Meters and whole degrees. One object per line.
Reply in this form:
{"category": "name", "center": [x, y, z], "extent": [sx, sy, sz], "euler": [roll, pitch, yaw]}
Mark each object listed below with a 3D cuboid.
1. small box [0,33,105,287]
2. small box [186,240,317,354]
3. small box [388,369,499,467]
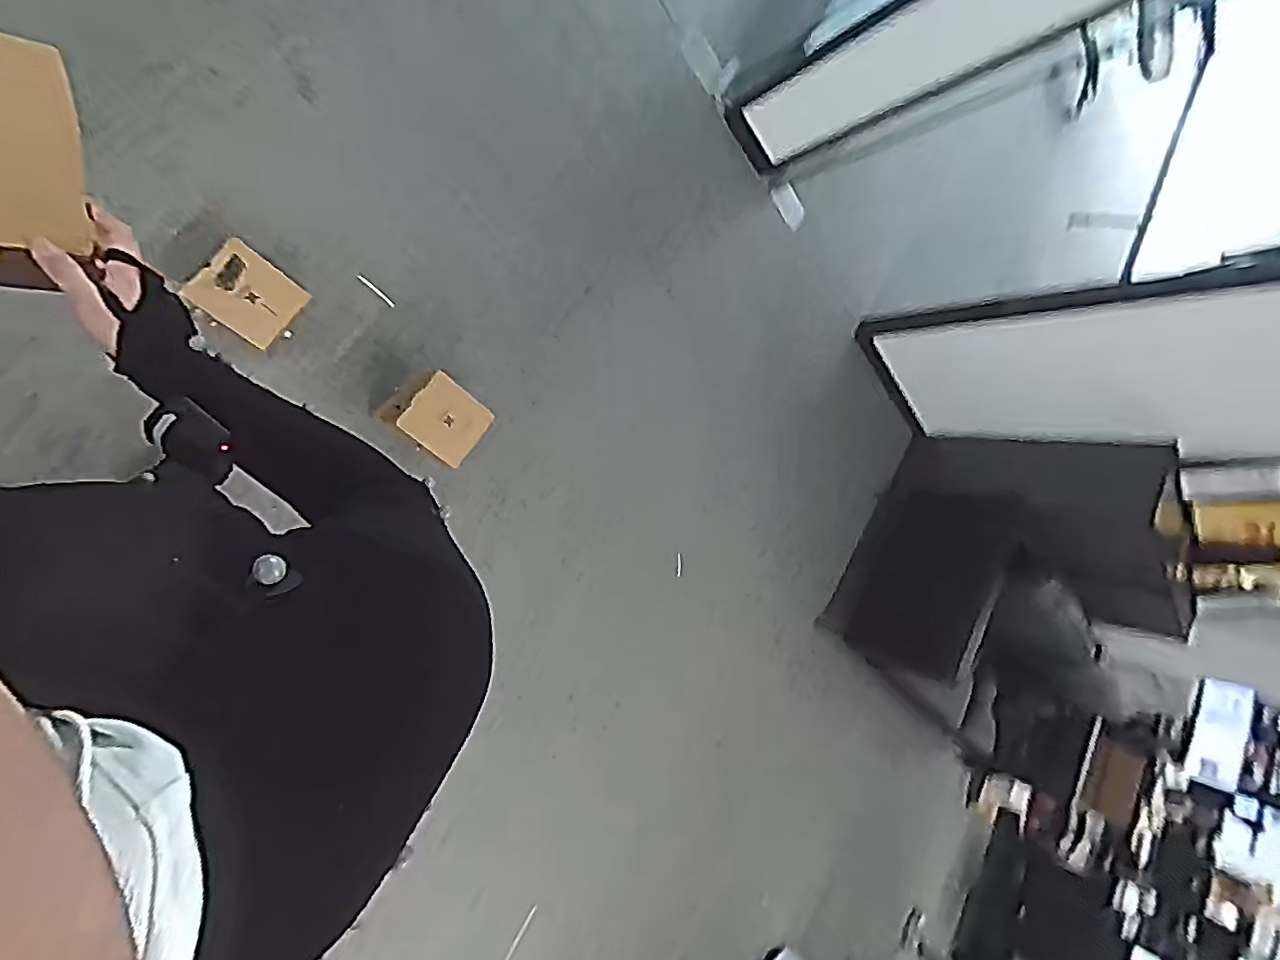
{"category": "small box", "center": [-0.605, -0.277, 0.478], "extent": [0.168, 0.176, 0.179], "euler": [-12, 102, -42]}
{"category": "small box", "center": [-0.878, -0.404, 1.230], "extent": [0.179, 0.176, 0.168], "euler": [41, 72, -33]}
{"category": "small box", "center": [-0.490, -0.150, 1.337], "extent": [0.179, 0.176, 0.168], "euler": [44, 71, -32]}
